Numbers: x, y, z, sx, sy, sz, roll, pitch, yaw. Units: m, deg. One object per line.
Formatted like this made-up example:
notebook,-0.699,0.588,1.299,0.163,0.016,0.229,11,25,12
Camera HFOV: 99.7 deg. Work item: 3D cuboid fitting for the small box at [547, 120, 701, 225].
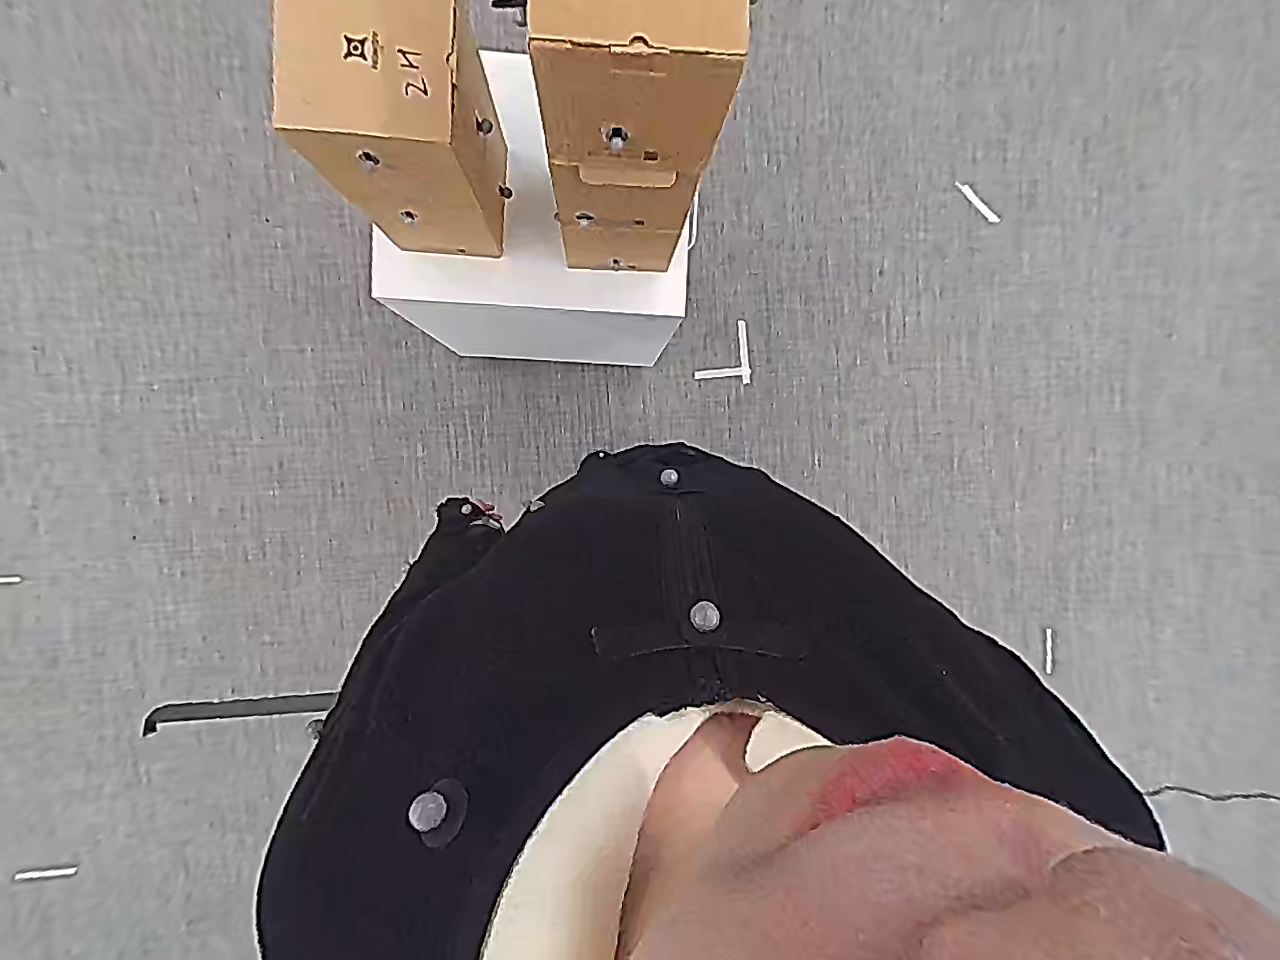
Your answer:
small box,-0.017,-0.419,0.635,0.168,0.176,0.179,1,93,-4

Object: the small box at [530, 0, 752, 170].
small box,-0.004,-0.408,0.473,0.168,0.176,0.179,1,94,-4

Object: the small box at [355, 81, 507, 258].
small box,-0.289,-0.444,0.778,0.168,0.176,0.179,3,92,-4

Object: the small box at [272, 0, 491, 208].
small box,-0.277,-0.430,0.613,0.179,0.176,0.168,3,94,-5
